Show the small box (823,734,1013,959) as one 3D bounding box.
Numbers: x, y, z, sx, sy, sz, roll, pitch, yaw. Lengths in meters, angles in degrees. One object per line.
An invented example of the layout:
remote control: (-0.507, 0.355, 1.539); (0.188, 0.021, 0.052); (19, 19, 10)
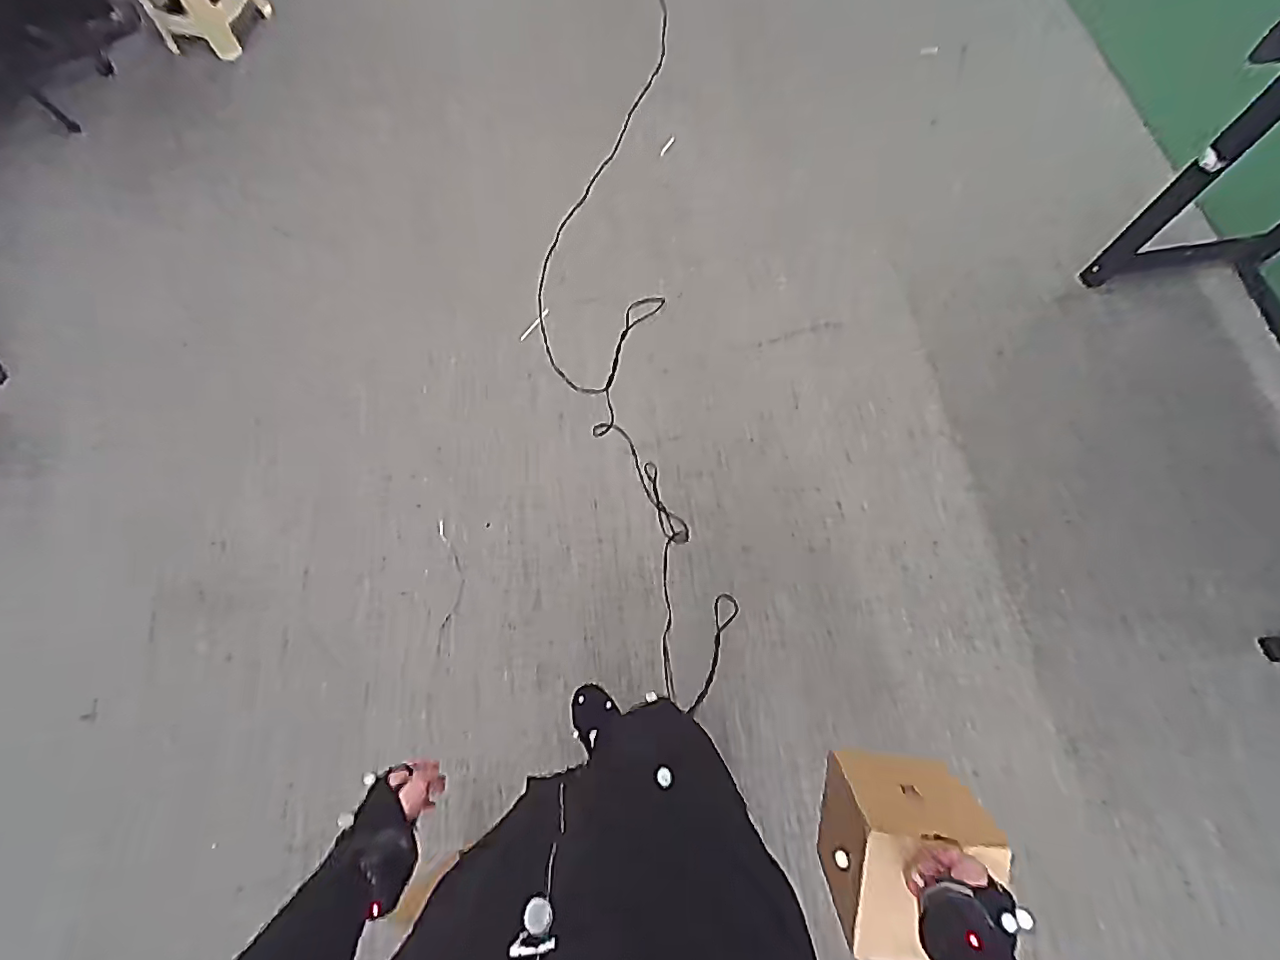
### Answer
small box: (0.349, 0.473, 0.713); (0.168, 0.179, 0.176); (7, 95, 7)
